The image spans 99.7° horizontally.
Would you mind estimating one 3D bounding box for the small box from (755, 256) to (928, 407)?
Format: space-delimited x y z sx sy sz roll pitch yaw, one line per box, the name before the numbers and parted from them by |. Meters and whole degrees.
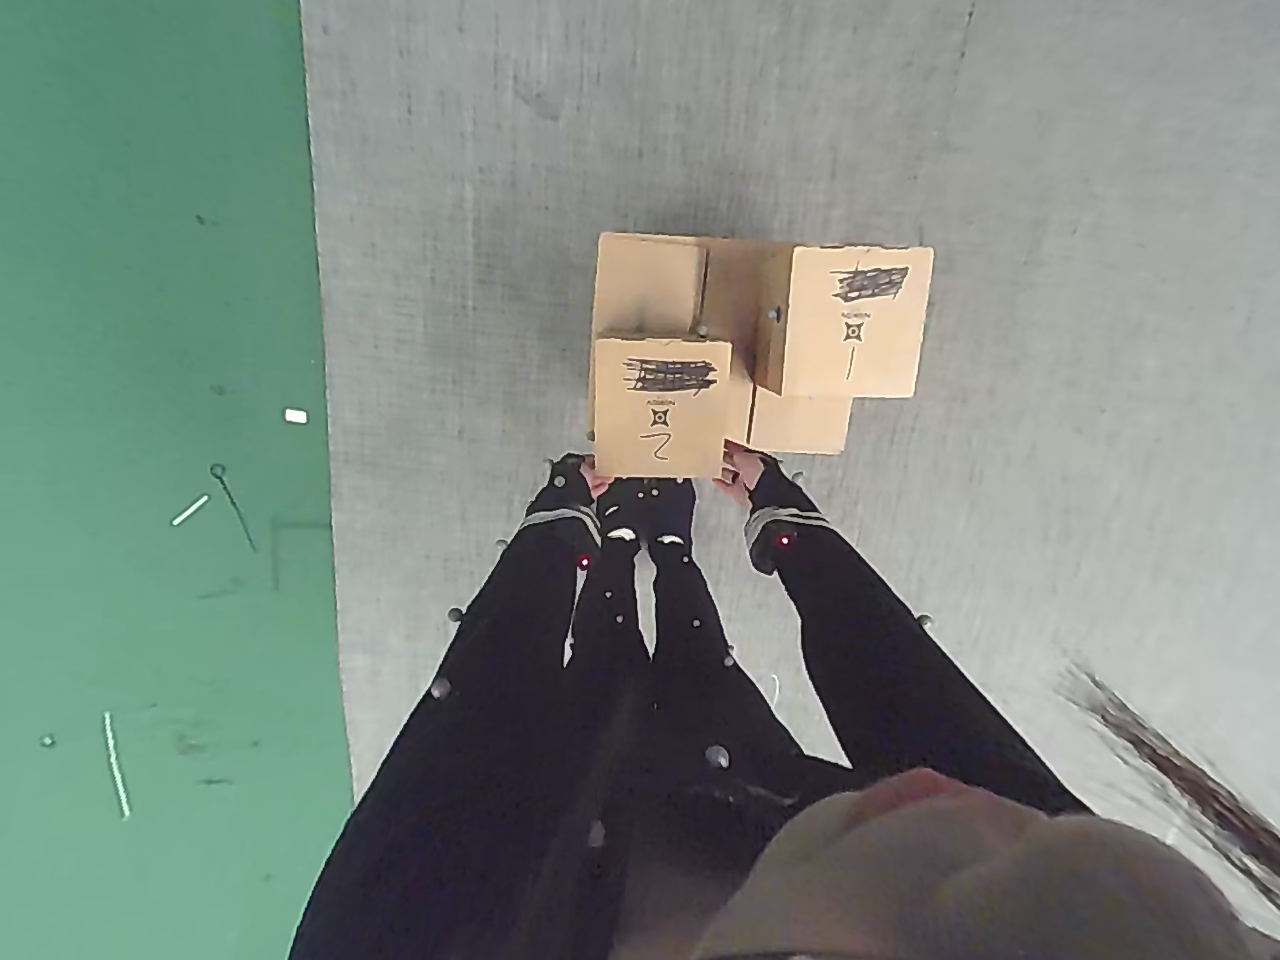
small box | 0.257 -0.199 0.735 0.168 0.176 0.179 2 106 1
